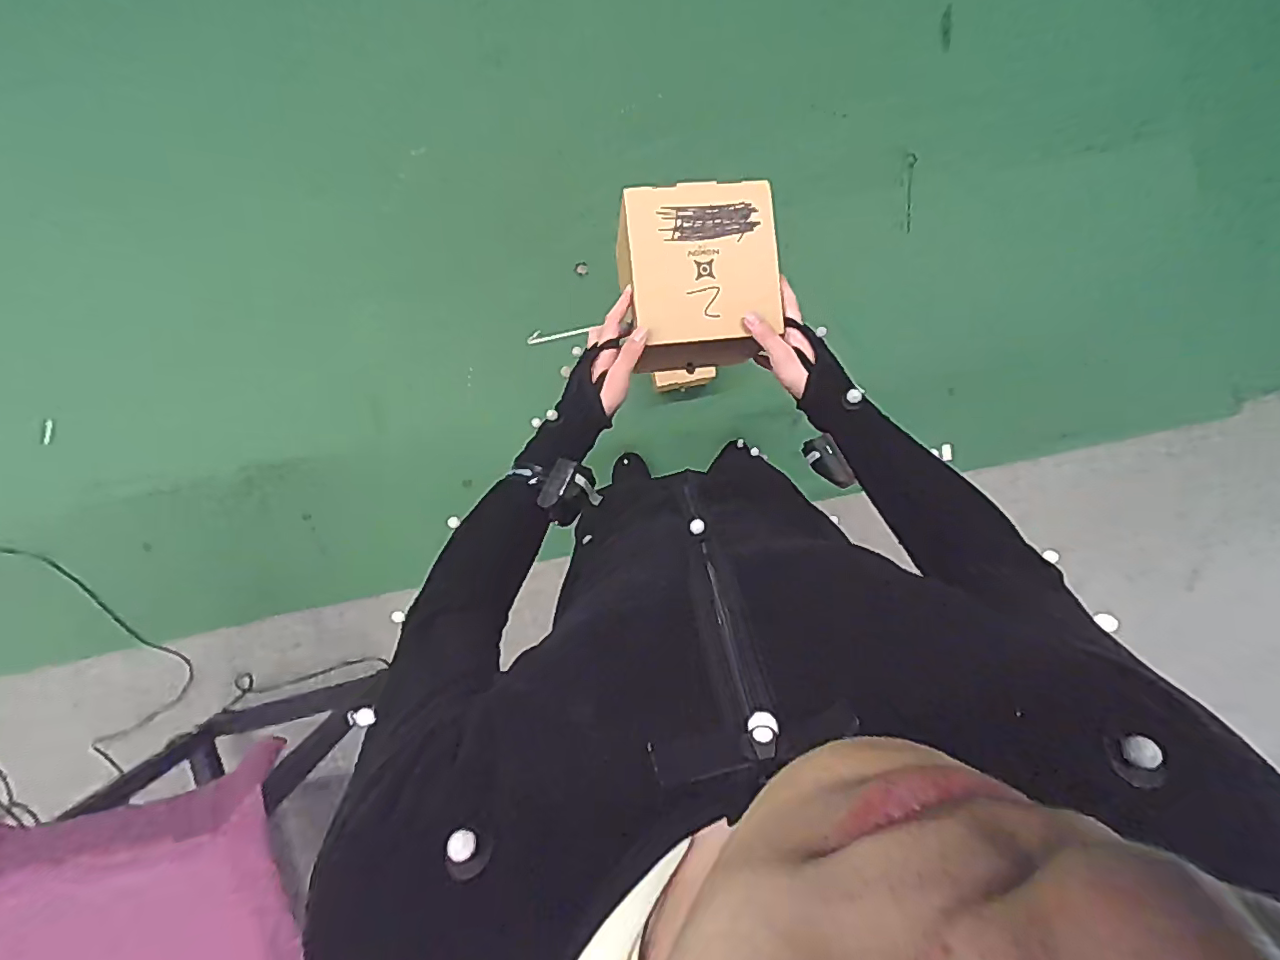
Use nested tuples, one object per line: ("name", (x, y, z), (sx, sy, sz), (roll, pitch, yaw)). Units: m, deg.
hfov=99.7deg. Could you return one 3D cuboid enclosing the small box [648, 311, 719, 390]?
("small box", (0.117, -0.359, 1.527), (0.168, 0.176, 0.179), (-10, 94, 0))
